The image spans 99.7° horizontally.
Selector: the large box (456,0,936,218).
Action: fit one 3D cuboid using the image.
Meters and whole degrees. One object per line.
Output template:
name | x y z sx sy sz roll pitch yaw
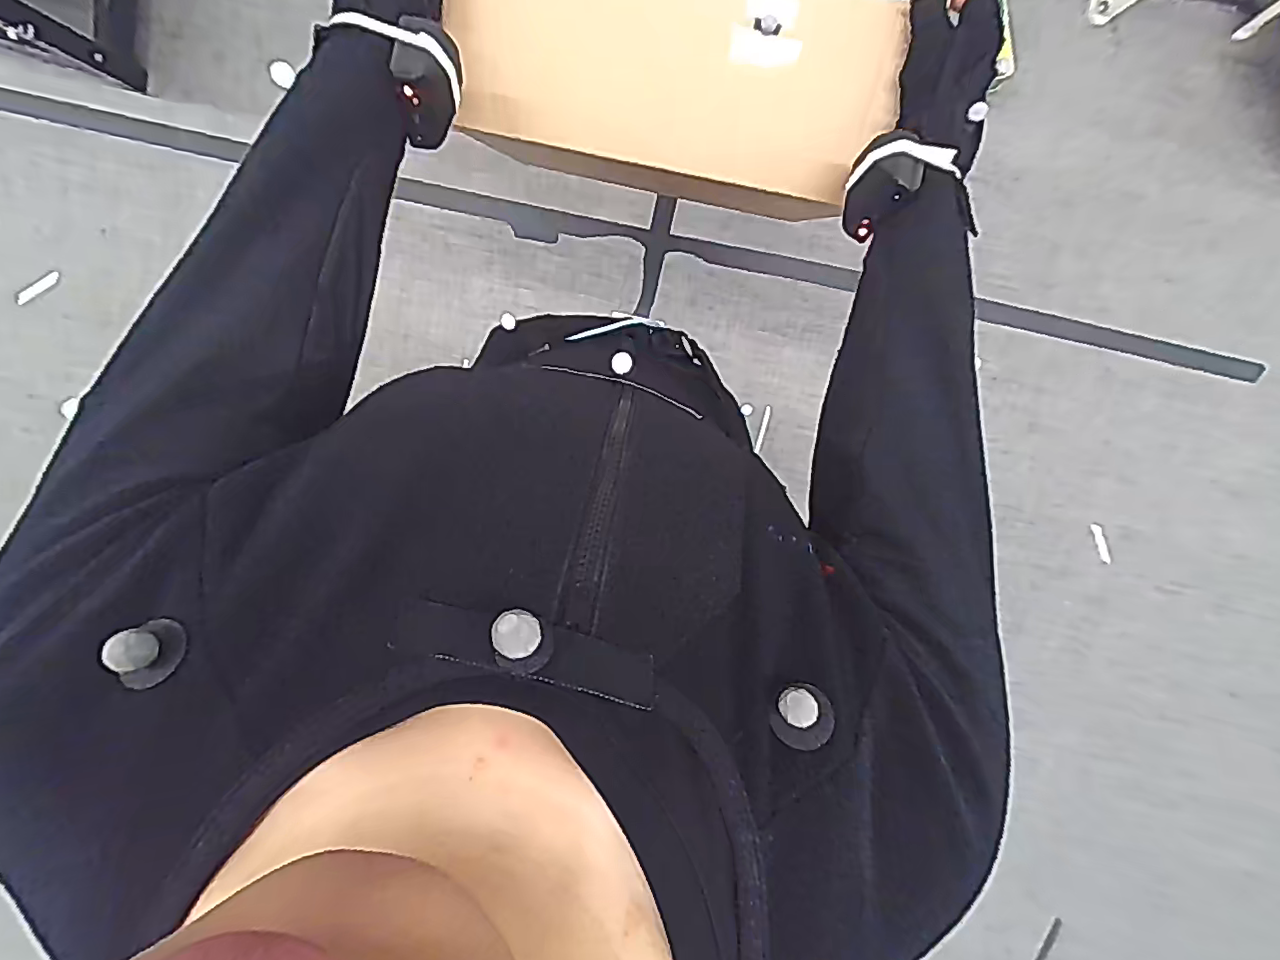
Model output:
large box | 0.051 -0.485 0.577 0.408 0.320 0.320 10 115 -4
